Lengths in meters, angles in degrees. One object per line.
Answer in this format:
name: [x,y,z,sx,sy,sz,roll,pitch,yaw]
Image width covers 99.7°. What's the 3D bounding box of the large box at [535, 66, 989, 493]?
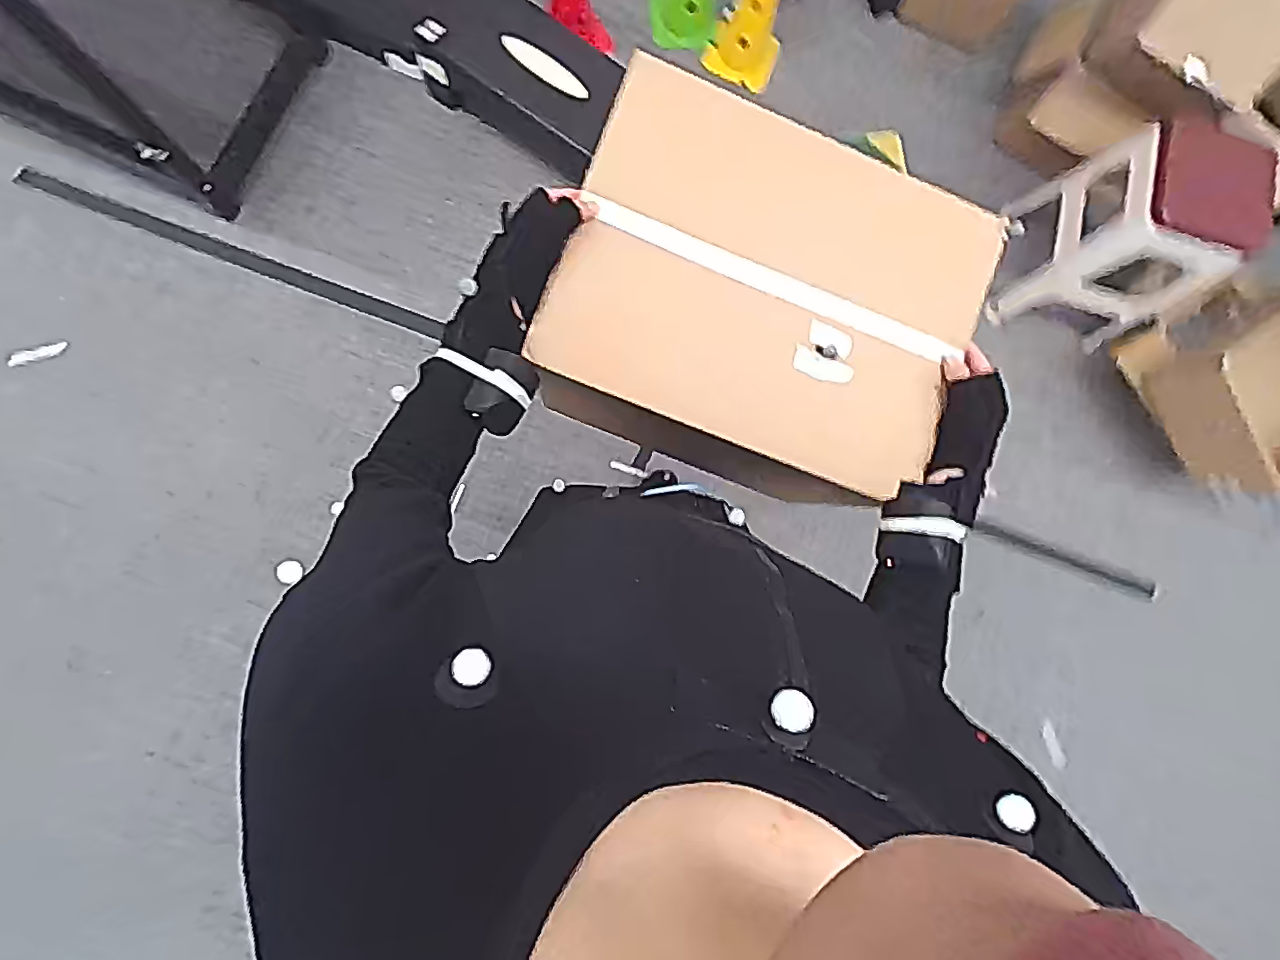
large box: [0.112,-0.192,0.682,0.408,0.320,0.320,21,88,-7]
